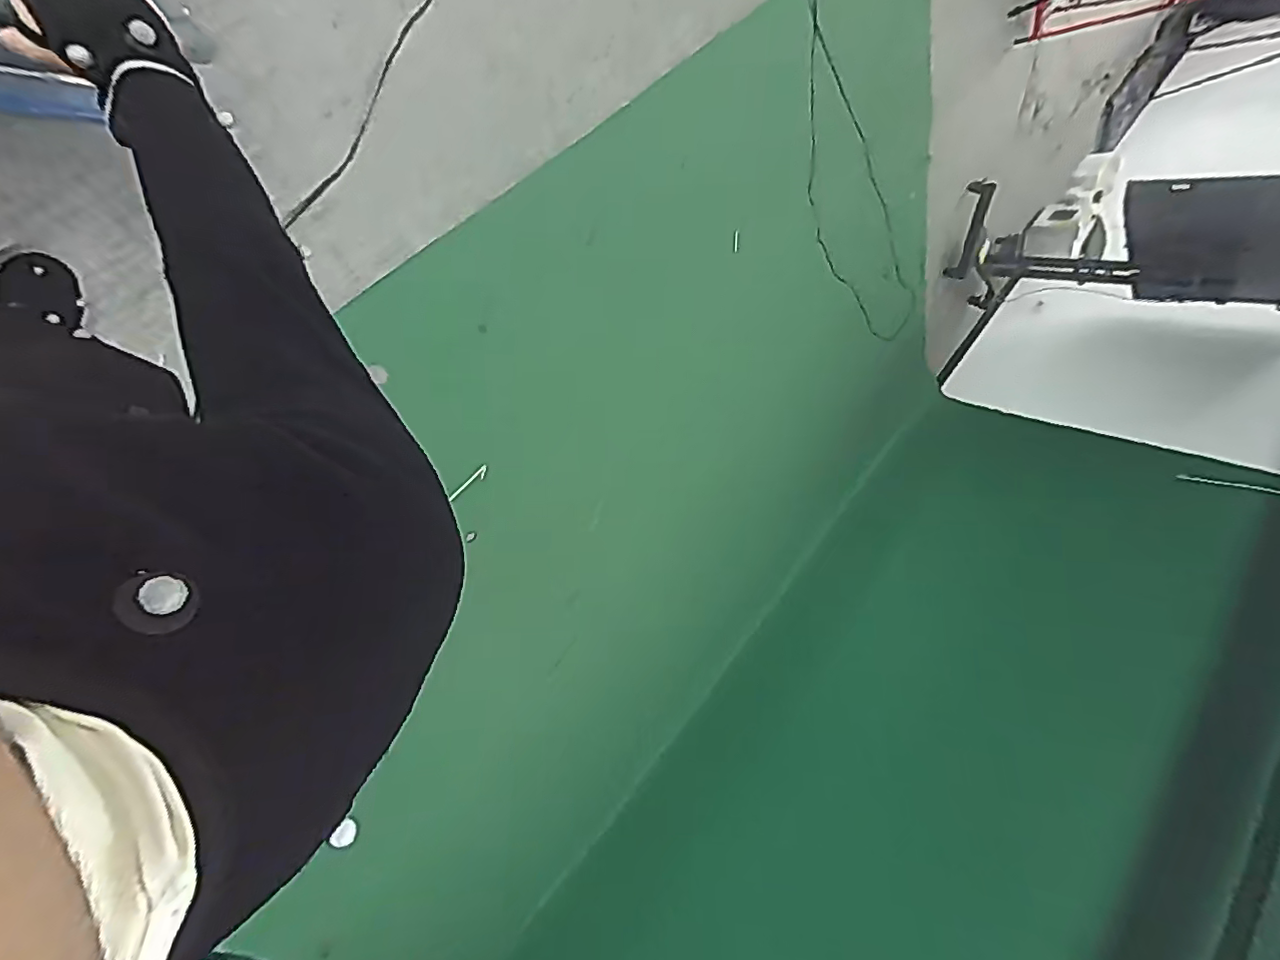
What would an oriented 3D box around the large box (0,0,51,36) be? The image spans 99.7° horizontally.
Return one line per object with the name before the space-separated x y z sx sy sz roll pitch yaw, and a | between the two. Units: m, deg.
large box | -0.952 -0.808 0.598 0.320 0.320 0.408 -17 120 -40
